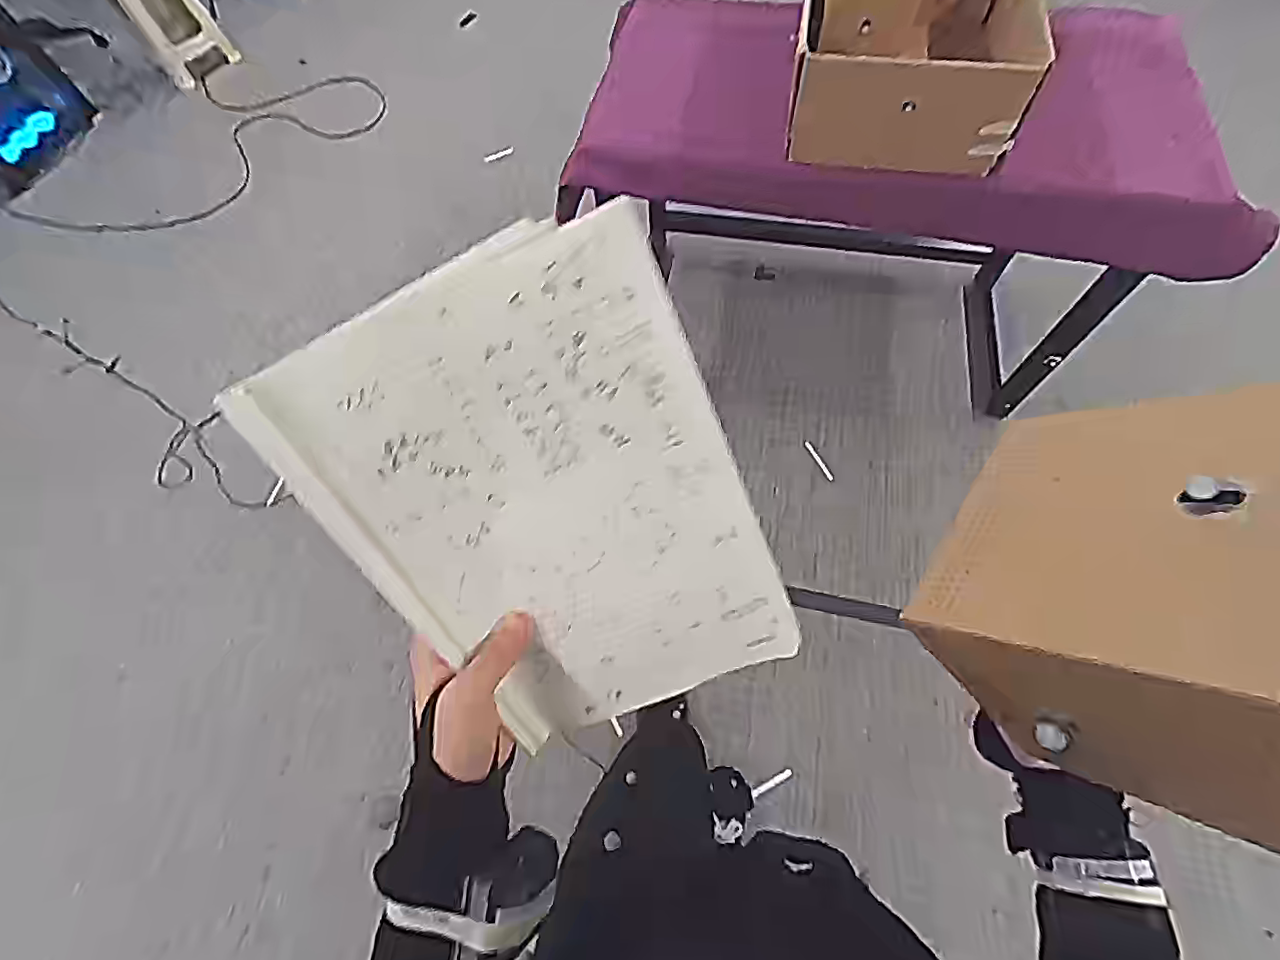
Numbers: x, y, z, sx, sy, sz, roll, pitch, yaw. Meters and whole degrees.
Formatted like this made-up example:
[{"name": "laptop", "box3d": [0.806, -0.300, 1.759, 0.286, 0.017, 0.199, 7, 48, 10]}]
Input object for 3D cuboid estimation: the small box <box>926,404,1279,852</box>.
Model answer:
[{"name": "small box", "box3d": [0.305, 0.072, 0.308, 0.168, 0.176, 0.179, 44, 72, -15]}]
